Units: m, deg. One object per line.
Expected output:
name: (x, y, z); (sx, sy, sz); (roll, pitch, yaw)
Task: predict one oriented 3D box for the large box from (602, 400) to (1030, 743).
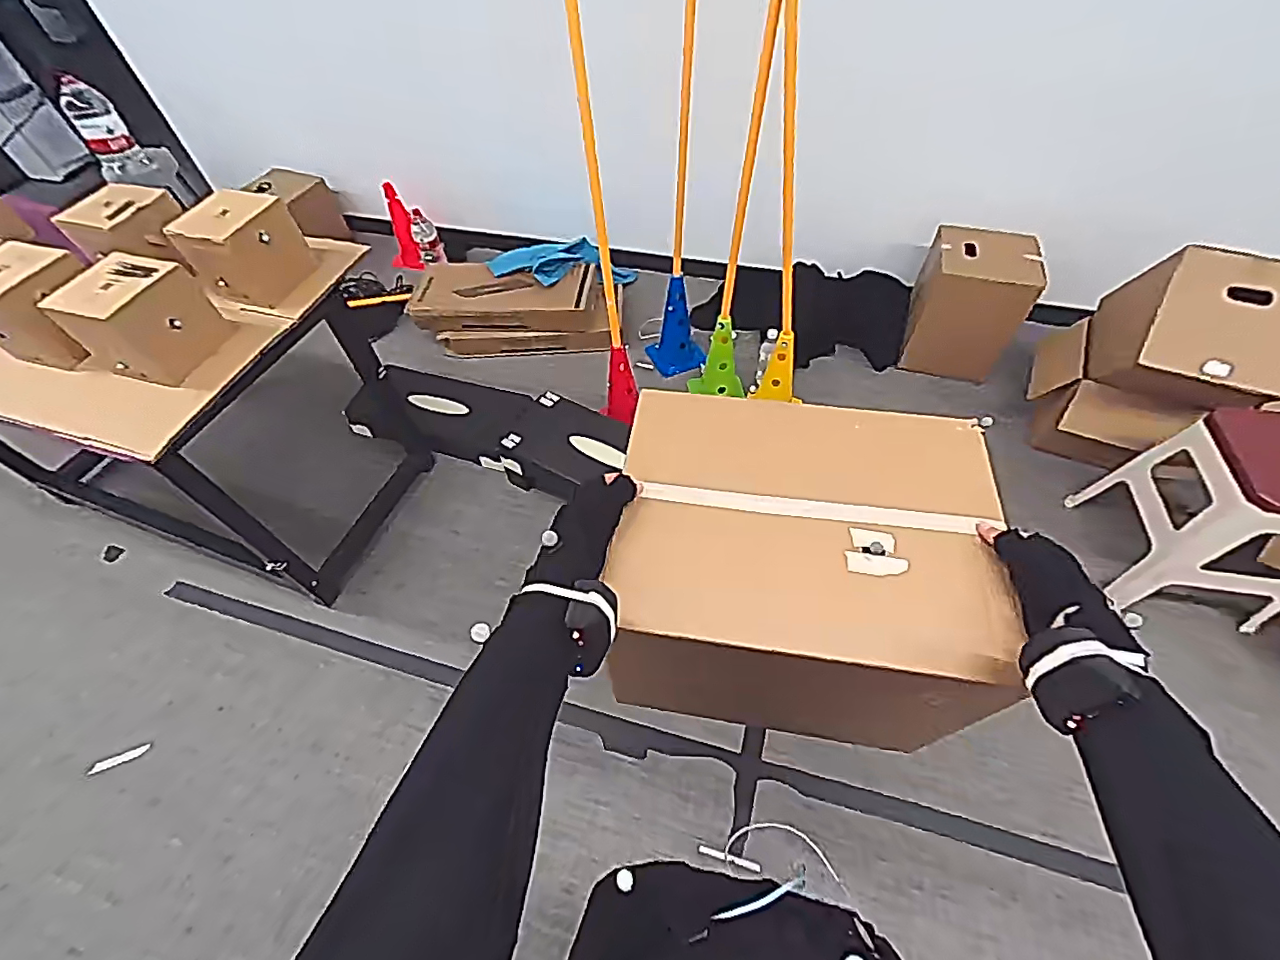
large box: (0.183, 0.125, 0.711); (0.408, 0.320, 0.320); (7, 56, 7)
